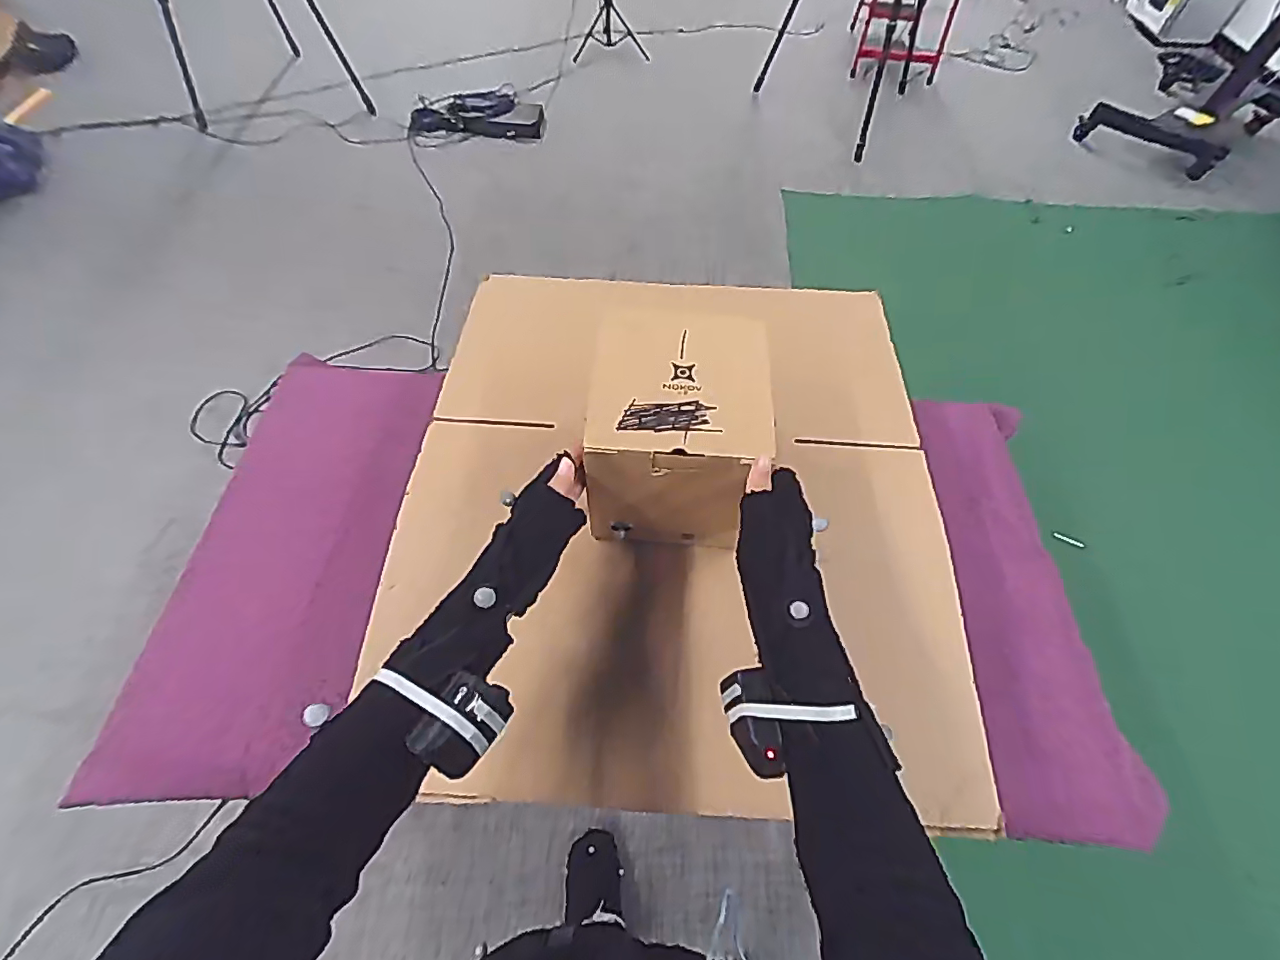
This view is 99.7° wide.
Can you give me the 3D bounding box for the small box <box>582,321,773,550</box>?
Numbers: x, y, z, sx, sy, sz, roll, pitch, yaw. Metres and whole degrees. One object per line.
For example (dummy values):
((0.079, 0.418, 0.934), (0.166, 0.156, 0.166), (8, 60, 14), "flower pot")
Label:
((0.038, -0.041, 0.567), (0.168, 0.176, 0.179), (4, 56, 1), "small box")
